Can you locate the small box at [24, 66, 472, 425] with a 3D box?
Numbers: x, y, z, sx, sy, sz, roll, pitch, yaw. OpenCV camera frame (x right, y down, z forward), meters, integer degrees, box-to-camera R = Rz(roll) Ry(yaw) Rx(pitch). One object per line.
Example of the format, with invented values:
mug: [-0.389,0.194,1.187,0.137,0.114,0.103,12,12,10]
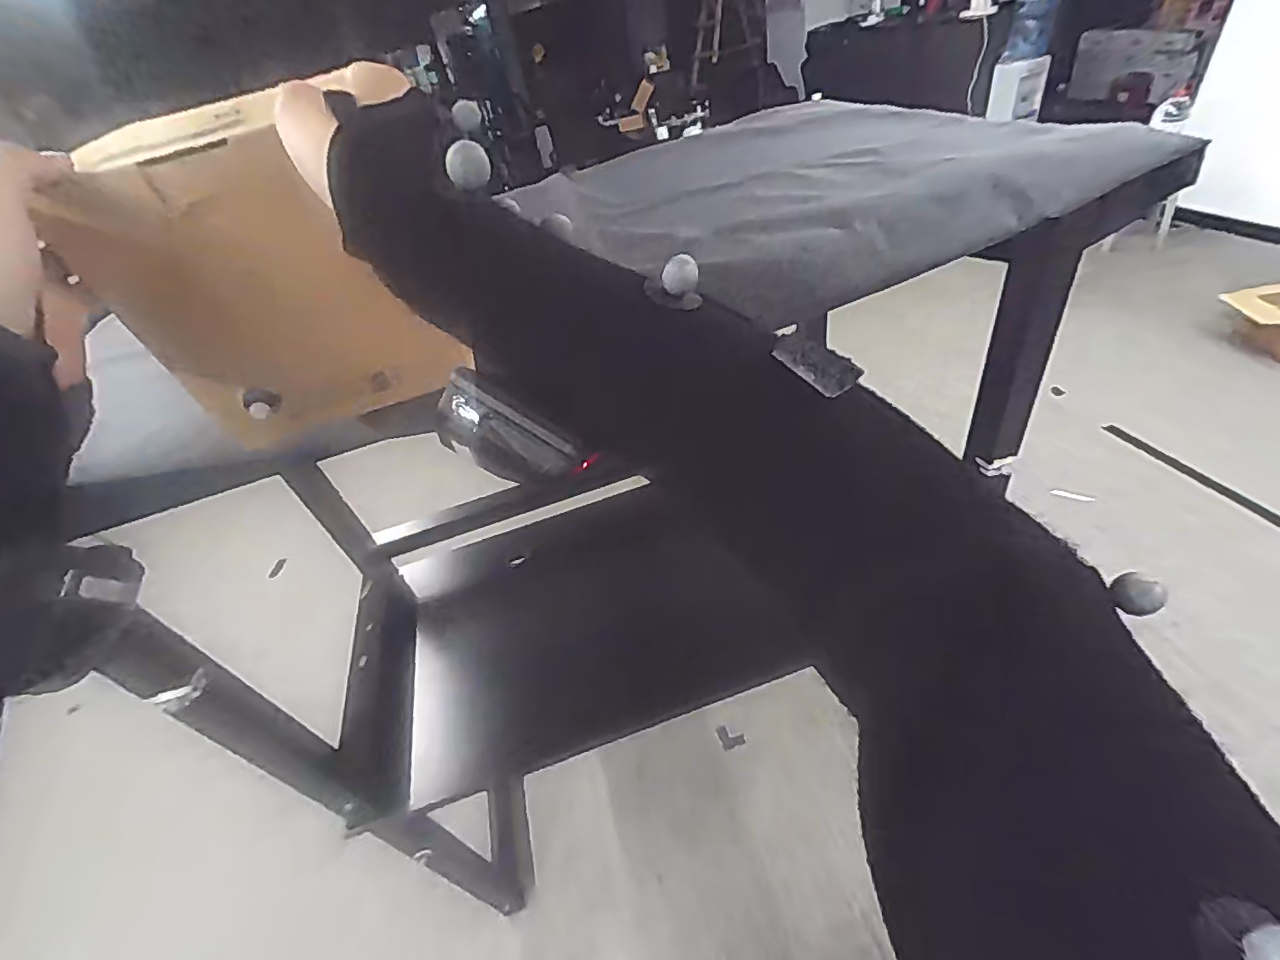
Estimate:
small box: [-0.229,-0.158,0.380,0.168,0.176,0.179,-19,44,-5]
